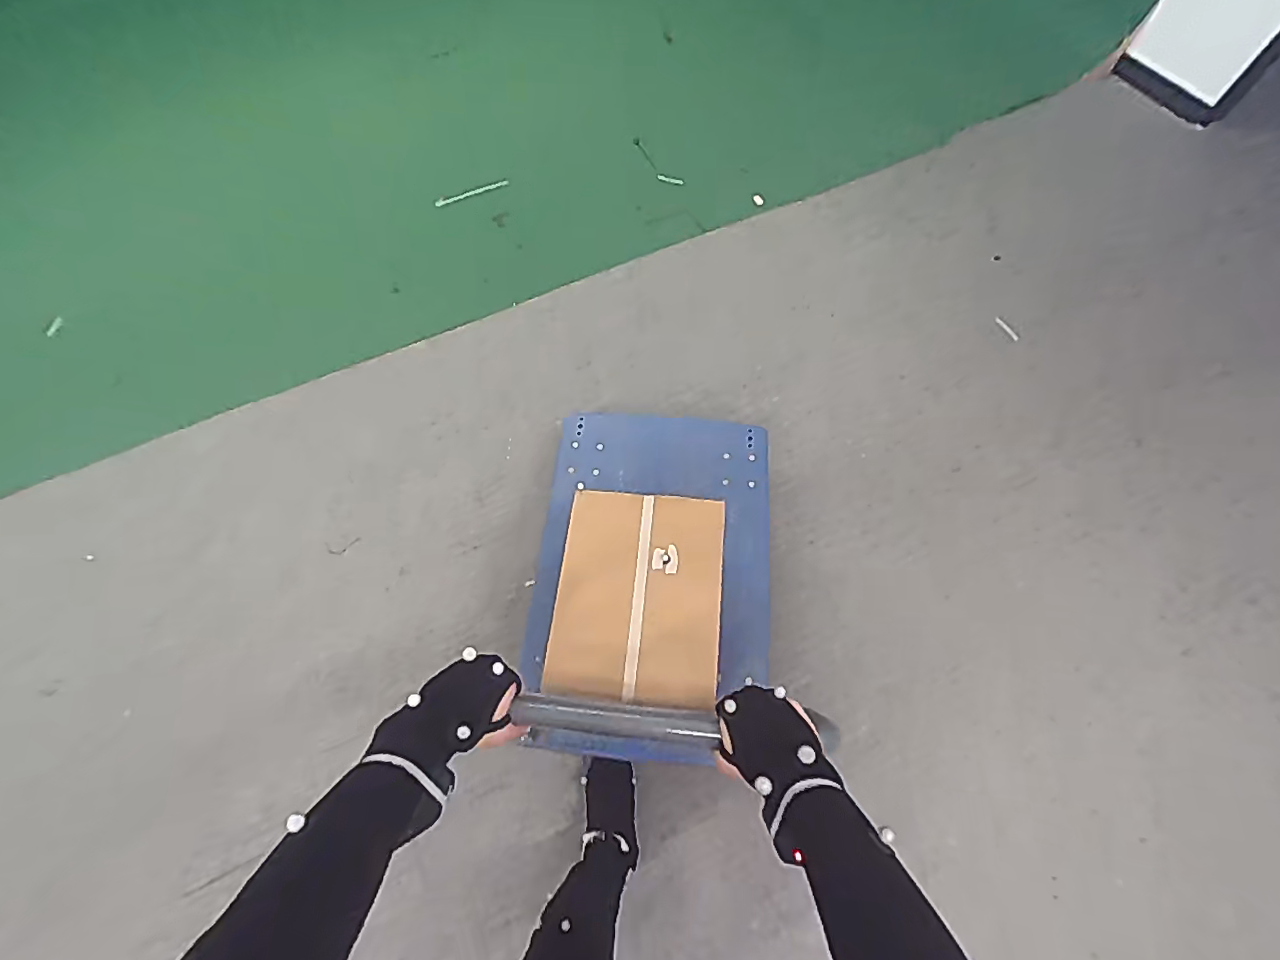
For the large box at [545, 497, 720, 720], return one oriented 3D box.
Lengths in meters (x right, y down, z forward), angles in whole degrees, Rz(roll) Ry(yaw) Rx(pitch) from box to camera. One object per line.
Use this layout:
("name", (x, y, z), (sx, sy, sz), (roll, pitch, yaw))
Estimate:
("large box", (0.002, 0.291, 1.187), (0.320, 0.320, 0.408), (5, 64, 4))
